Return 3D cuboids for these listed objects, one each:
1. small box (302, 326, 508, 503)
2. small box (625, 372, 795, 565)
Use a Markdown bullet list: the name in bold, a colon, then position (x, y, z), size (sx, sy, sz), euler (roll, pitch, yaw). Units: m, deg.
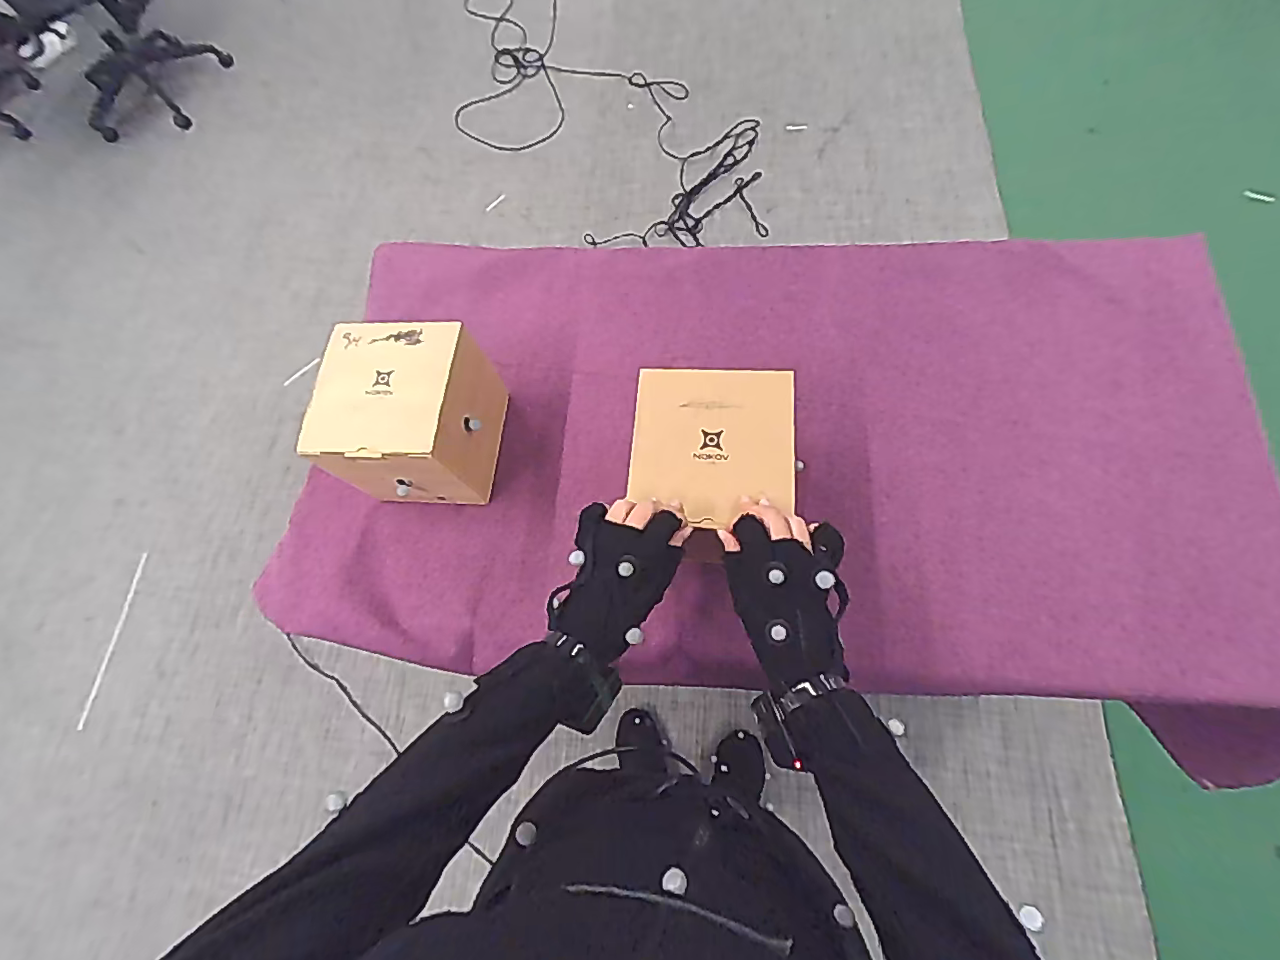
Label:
- **small box**: position (-0.284, -0.075, 0.697), size (0.168, 0.176, 0.179), euler (2, 70, 7)
- **small box**: position (0.084, -0.005, 0.624), size (0.168, 0.176, 0.179), euler (3, 69, 8)
